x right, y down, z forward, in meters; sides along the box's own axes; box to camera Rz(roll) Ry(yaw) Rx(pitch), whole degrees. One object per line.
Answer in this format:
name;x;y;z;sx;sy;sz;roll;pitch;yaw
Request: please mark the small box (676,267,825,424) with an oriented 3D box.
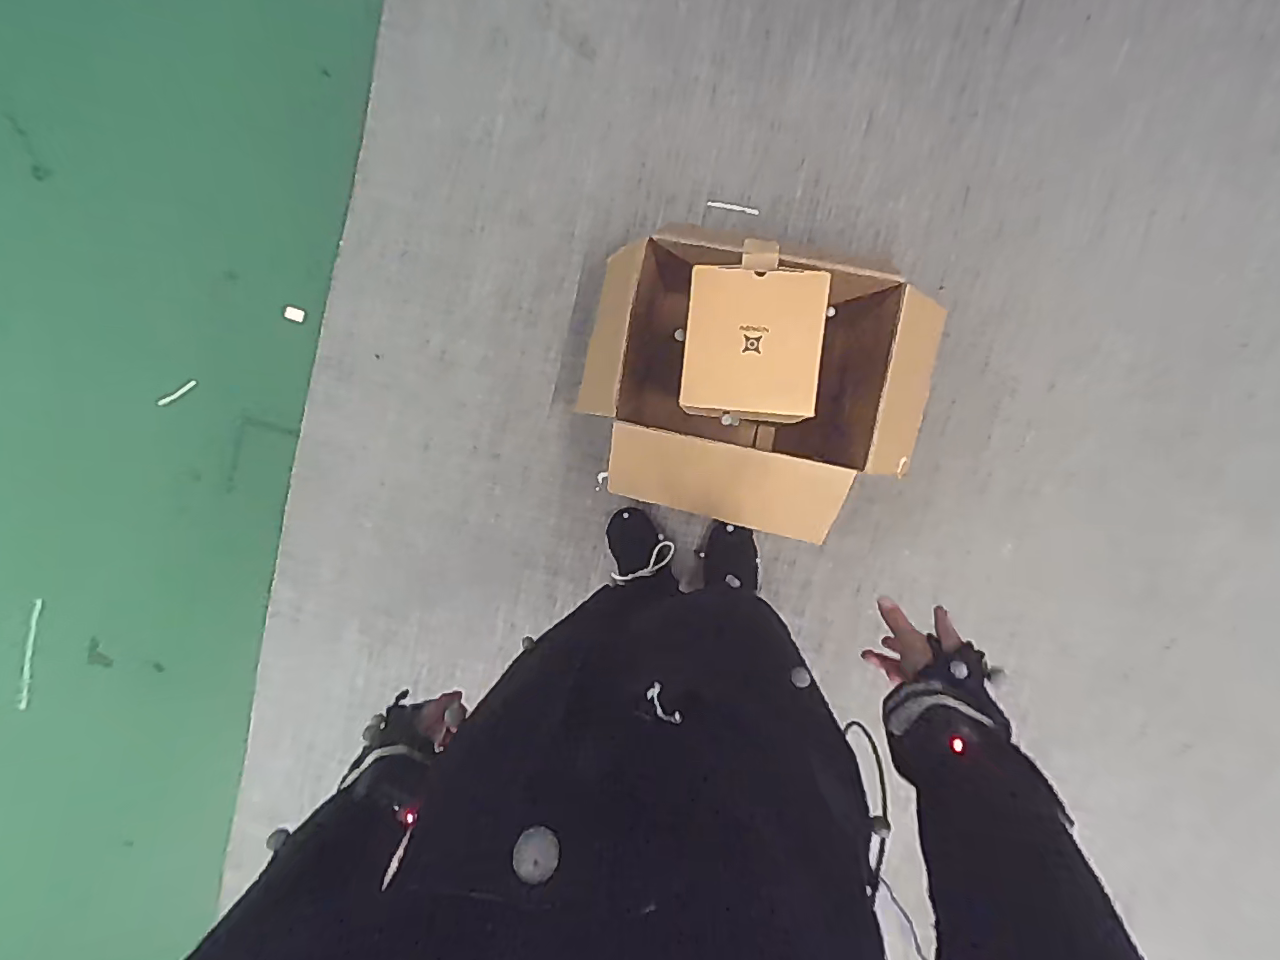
small box;0.145;-0.171;0.737;0.168;0.176;0.179;6;92;8
